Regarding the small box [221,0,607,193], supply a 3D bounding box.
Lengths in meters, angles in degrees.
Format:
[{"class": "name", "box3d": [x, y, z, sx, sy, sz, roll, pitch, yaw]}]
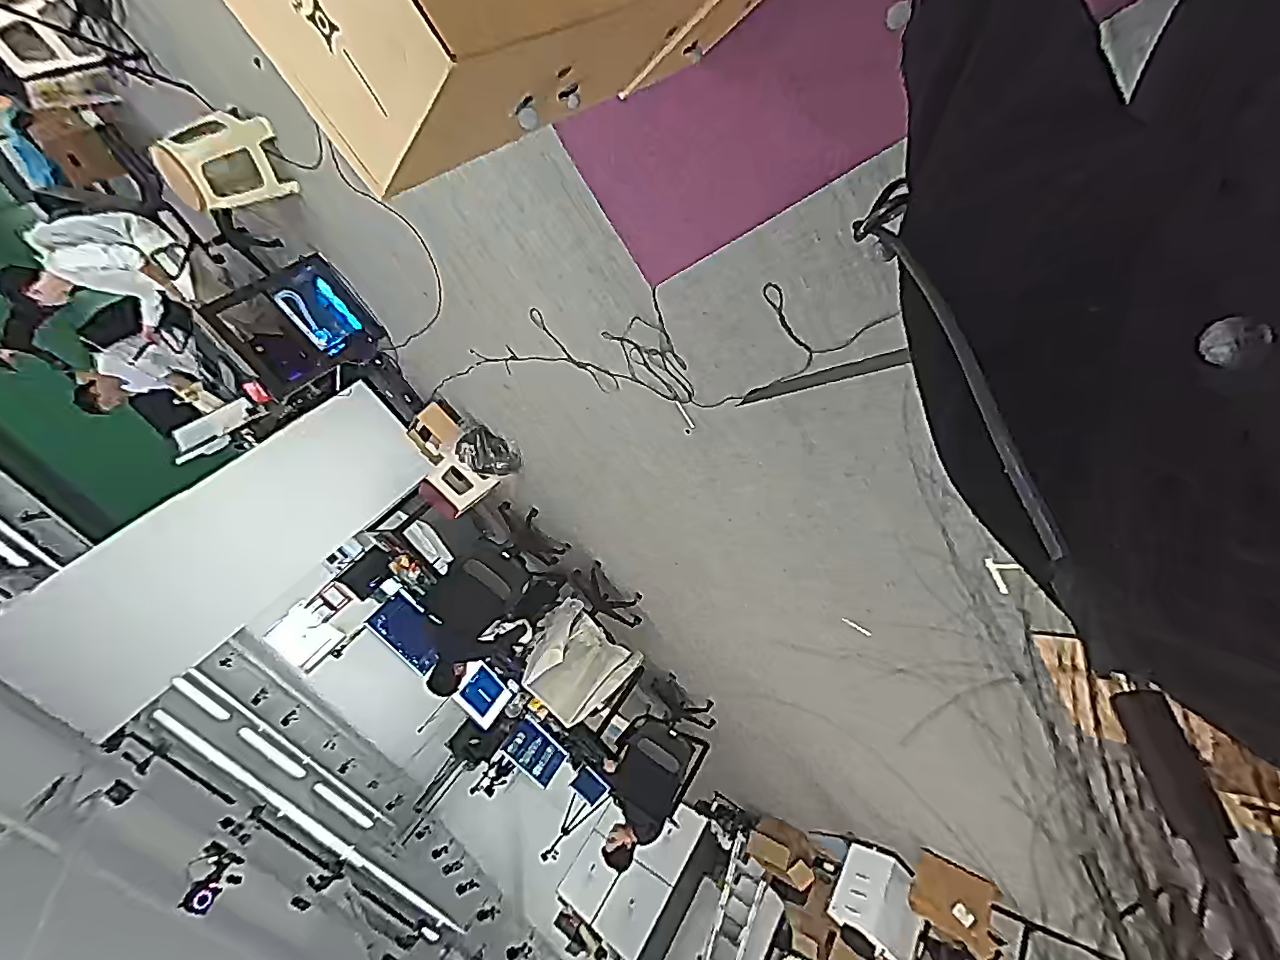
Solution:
[{"class": "small box", "box3d": [-0.159, -0.345, 0.373, 0.168, 0.176, 0.179, -7, 125, 50]}]

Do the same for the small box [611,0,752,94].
[{"class": "small box", "box3d": [0.025, -0.551, 0.552, 0.168, 0.176, 0.179, -7, 124, 50]}]

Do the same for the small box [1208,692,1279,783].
[{"class": "small box", "box3d": [1.825, 0.765, 1.616, 0.168, 0.176, 0.179, -4, 127, 51]}]

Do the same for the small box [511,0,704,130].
[{"class": "small box", "box3d": [-0.070, -0.451, 0.463, 0.168, 0.176, 0.179, -7, 123, 51]}]
